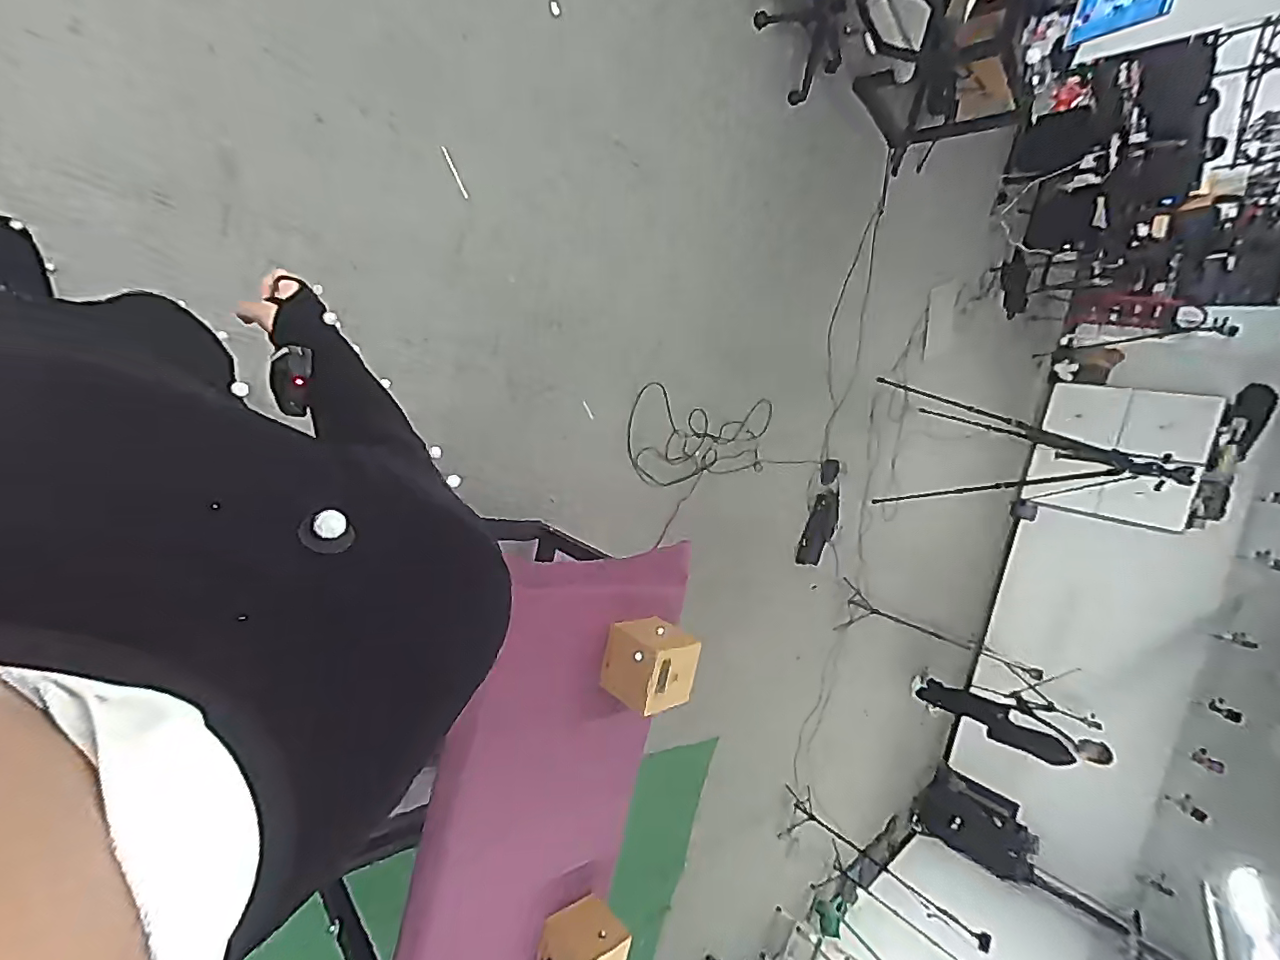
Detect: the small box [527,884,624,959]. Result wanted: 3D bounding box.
[{"bbox_3d":[-0.178,1.267,1.485,0.179,0.176,0.168,13,92,-47],"label":"small box"}]
